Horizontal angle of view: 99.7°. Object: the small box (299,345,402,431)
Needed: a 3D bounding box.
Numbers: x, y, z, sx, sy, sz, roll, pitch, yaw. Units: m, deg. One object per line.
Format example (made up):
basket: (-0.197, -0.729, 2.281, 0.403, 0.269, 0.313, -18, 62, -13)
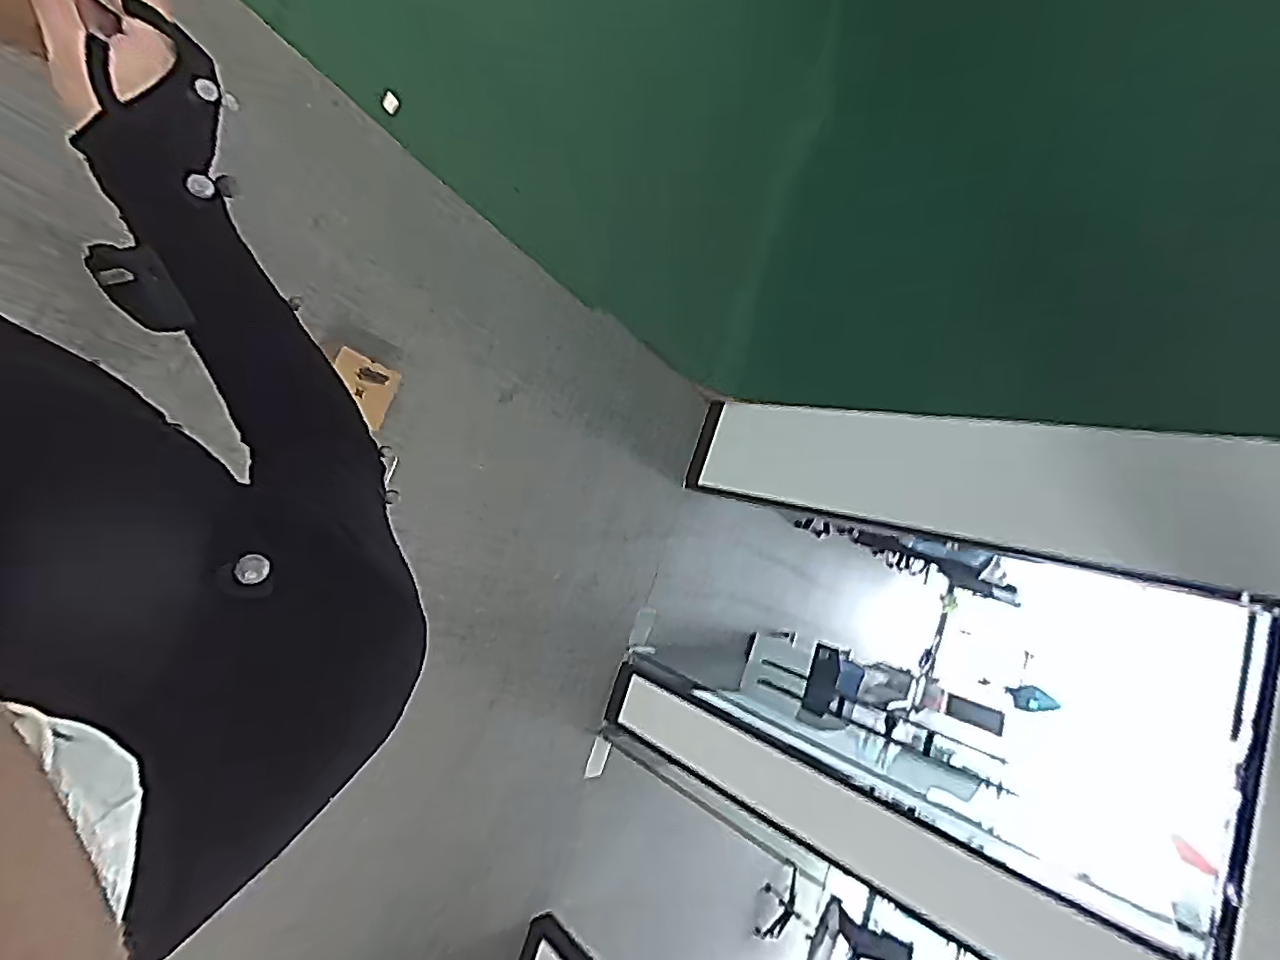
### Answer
small box: (-0.785, -0.250, 1.459, 0.168, 0.176, 0.179, 28, 79, -48)
